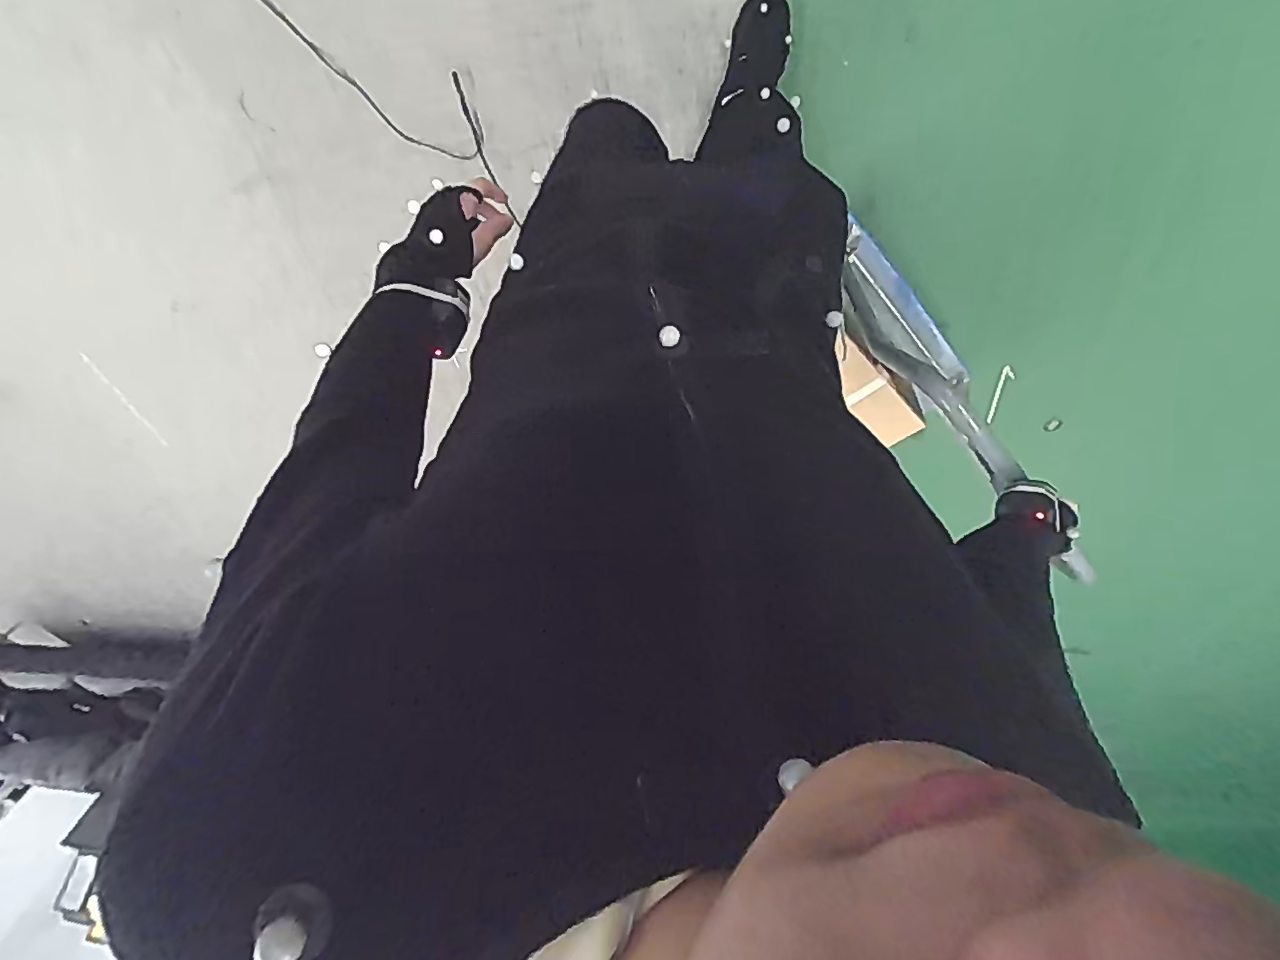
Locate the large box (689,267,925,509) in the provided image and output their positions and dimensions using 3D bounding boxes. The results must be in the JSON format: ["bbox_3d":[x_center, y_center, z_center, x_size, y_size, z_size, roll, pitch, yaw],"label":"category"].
[{"bbox_3d":[0.373,-0.207,1.275,0.320,0.320,0.408,39,129,-21],"label":"large box"}]
